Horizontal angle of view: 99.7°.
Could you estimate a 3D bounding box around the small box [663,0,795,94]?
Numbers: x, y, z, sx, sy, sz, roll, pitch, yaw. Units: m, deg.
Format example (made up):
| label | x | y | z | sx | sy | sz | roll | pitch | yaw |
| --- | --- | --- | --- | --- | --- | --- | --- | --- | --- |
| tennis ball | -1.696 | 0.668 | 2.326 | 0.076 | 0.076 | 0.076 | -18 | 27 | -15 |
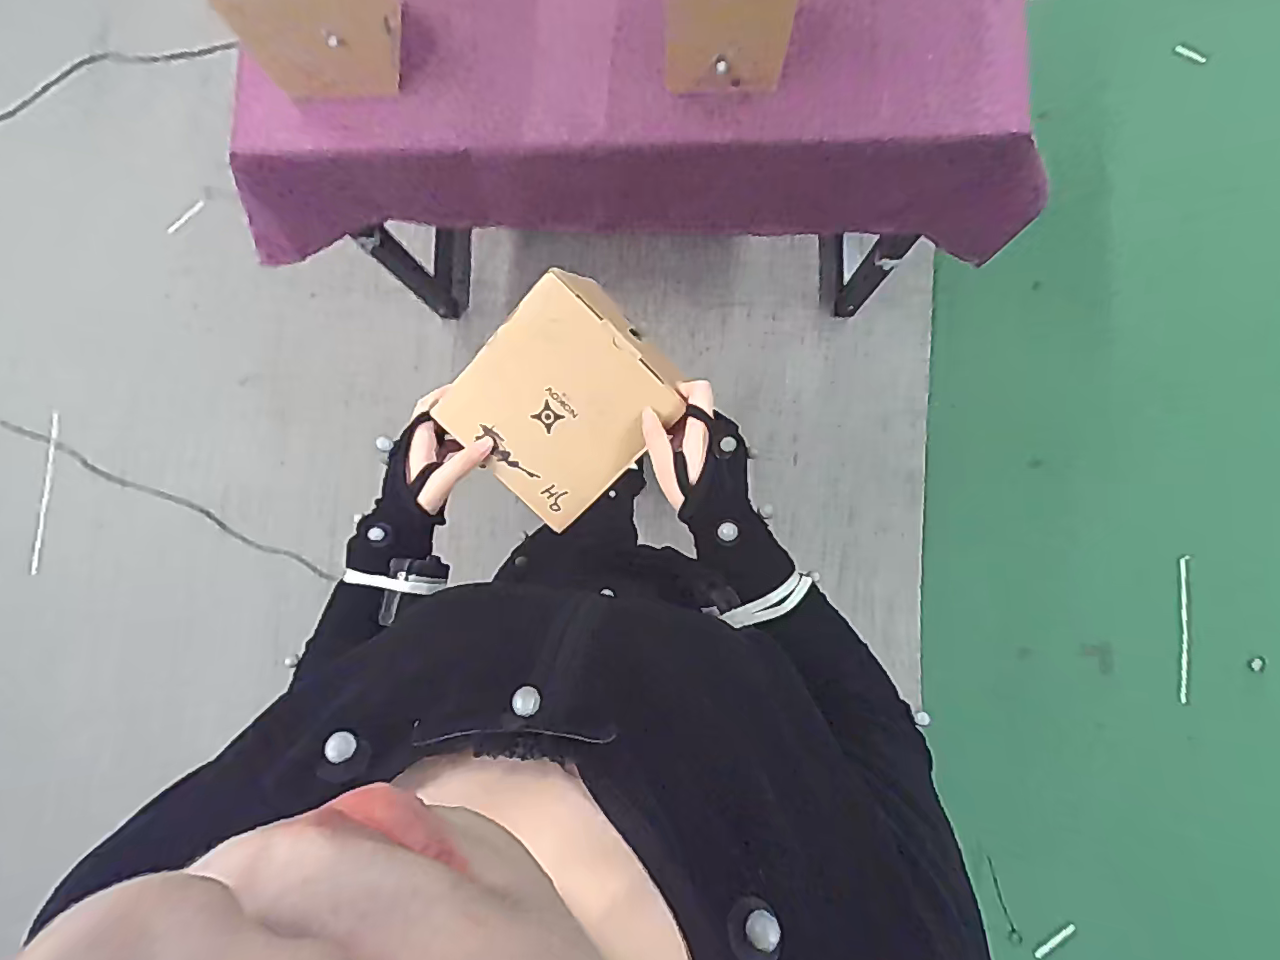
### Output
| label | x | y | z | sx | sy | sz | roll | pitch | yaw |
| --- | --- | --- | --- | --- | --- | --- | --- | --- | --- |
| small box | 0.118 | -0.670 | 0.730 | 0.168 | 0.176 | 0.179 | 4 | 86 | 4 |
